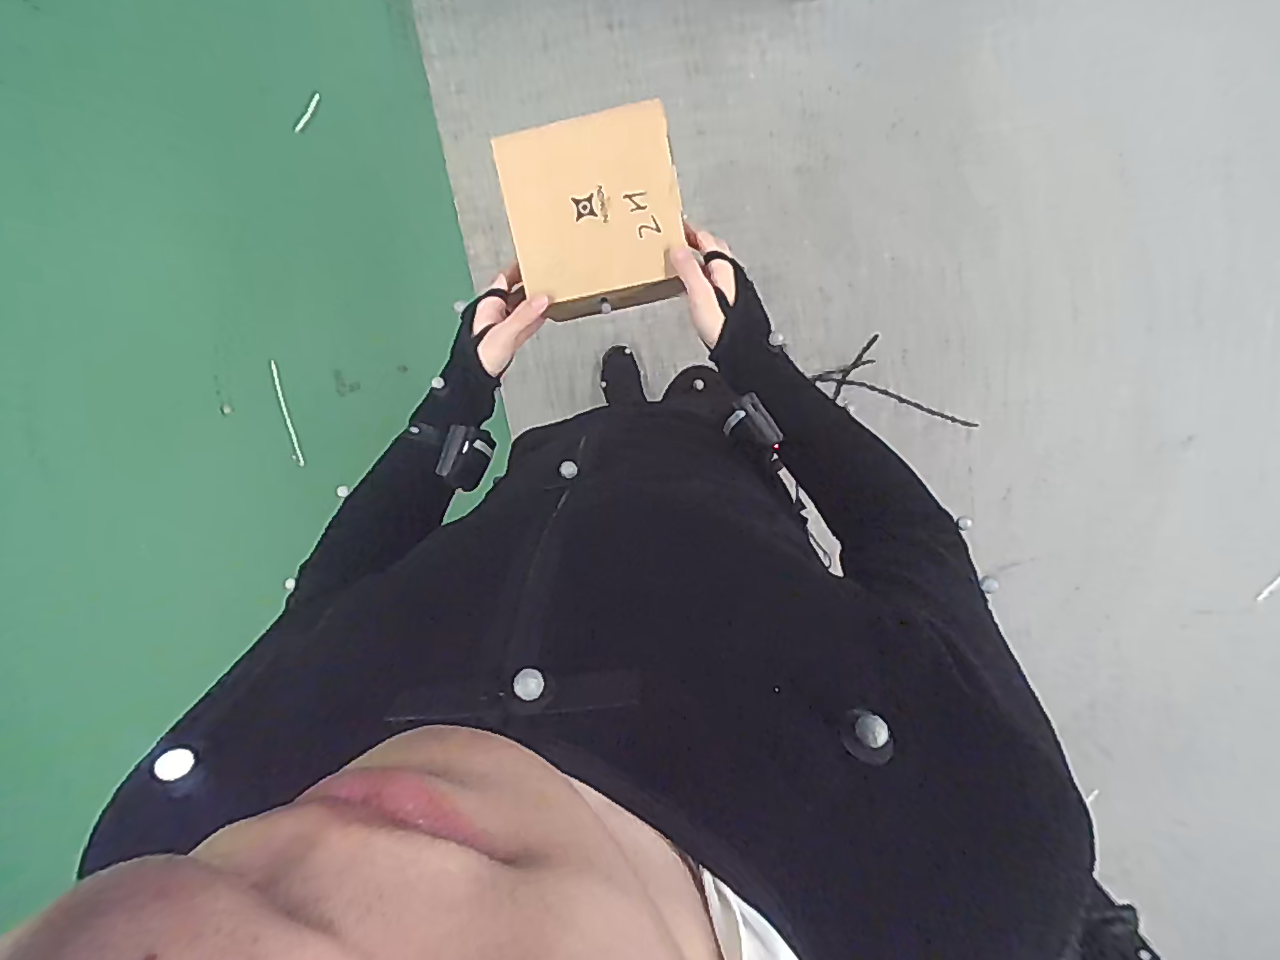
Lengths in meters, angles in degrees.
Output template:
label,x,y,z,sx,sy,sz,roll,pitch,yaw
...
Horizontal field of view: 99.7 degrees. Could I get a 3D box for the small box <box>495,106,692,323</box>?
label,x,y,z,sx,sy,sz,roll,pitch,yaw
small box,-0.042,-0.283,0.618,0.179,0.176,0.168,-10,101,3
